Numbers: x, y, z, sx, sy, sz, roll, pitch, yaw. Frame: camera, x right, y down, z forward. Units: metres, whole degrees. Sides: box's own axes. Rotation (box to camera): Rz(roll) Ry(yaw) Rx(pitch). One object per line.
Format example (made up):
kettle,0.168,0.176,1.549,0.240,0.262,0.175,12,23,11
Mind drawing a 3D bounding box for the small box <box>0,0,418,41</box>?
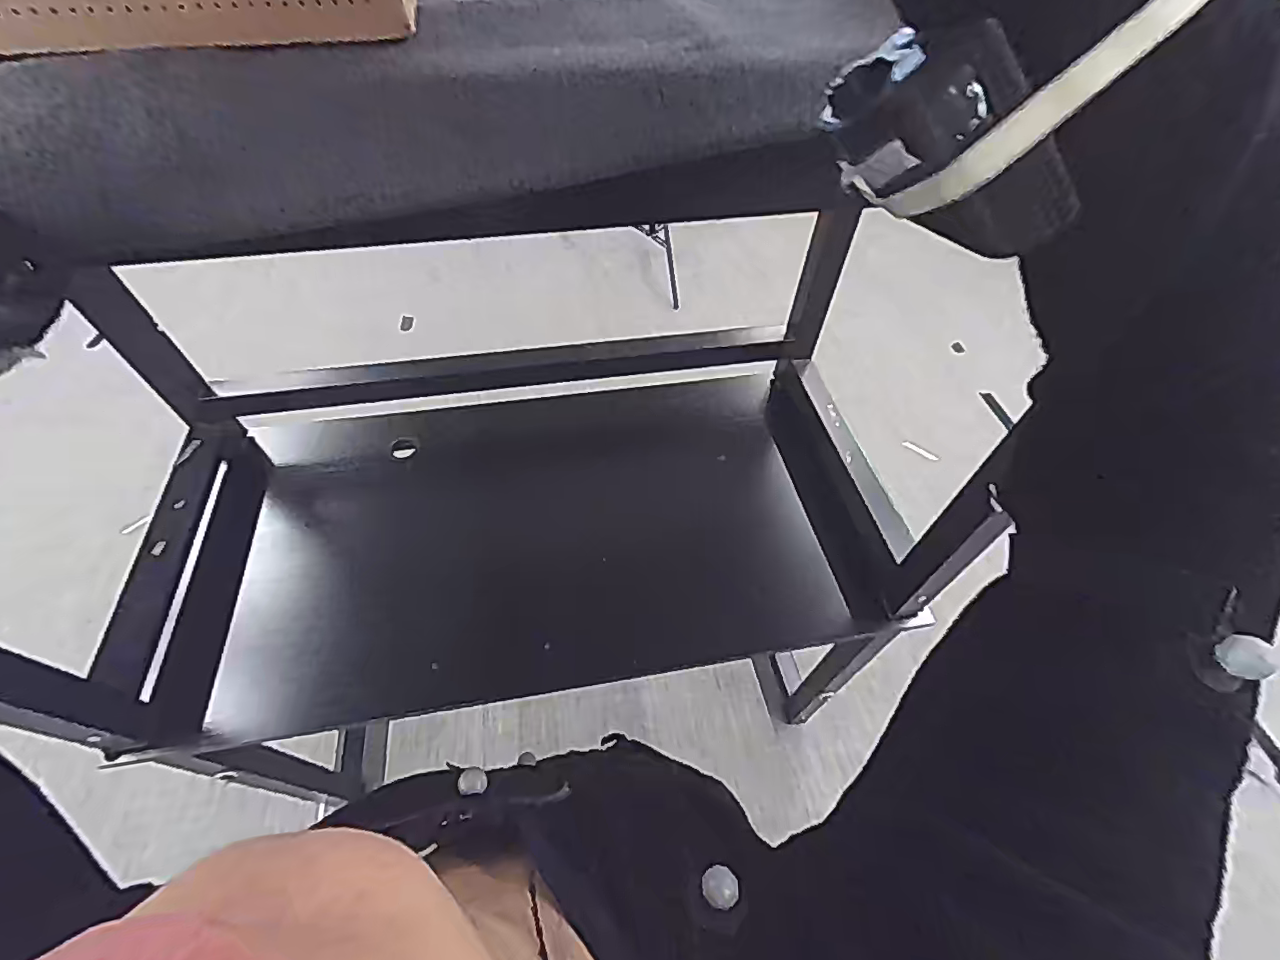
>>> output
small box,-0.200,-0.295,0.210,0.179,0.176,0.168,-10,53,-9
